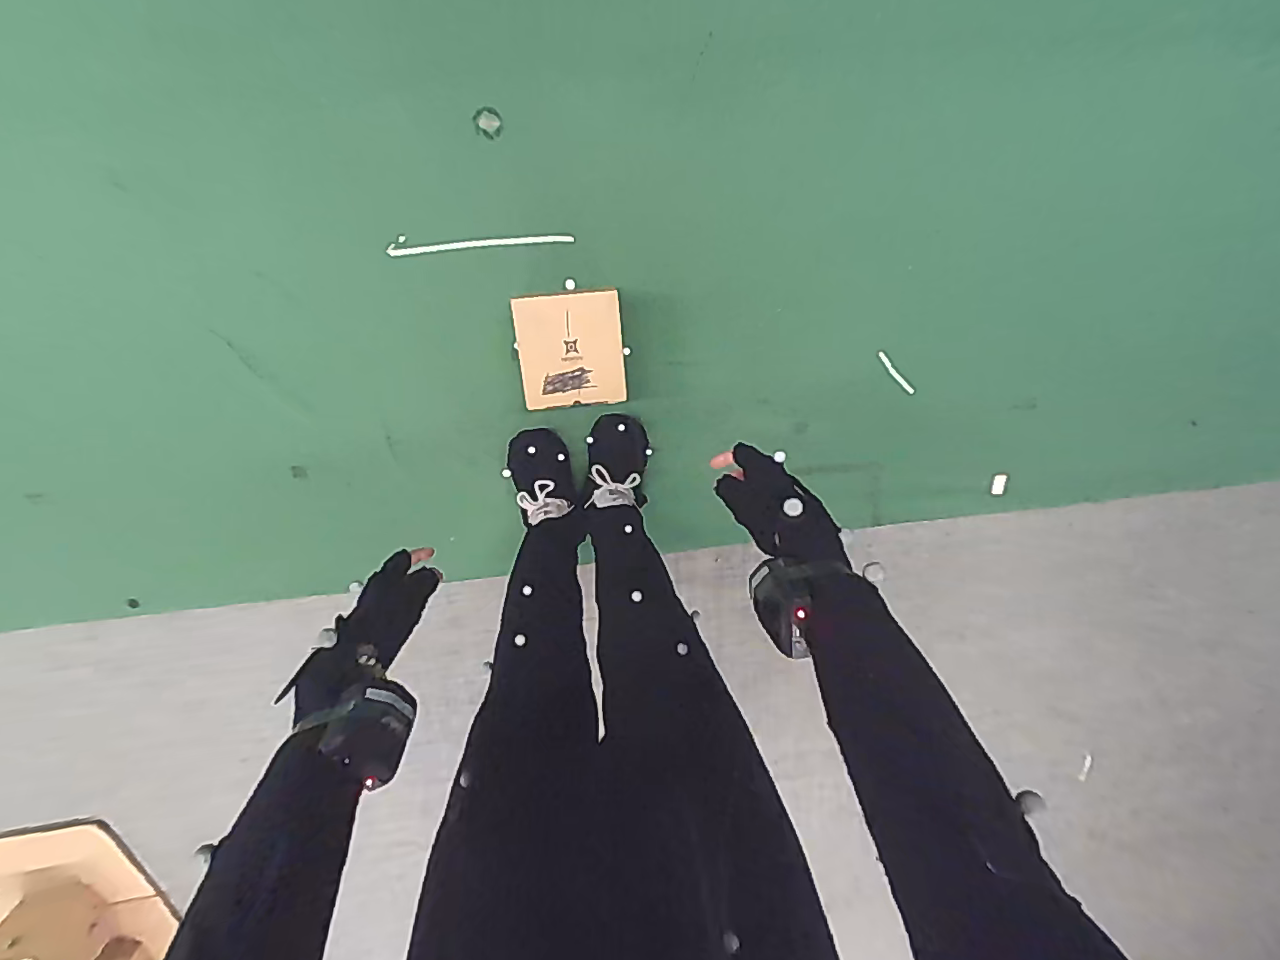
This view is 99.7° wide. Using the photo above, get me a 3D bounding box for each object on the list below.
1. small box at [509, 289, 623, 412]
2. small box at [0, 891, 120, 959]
[{"bbox_3d":[-0.118,-0.226,0.925,0.168,0.176,0.179,-6,111,-3],"label":"small box"},{"bbox_3d":[-1.481,1.176,1.347,0.179,0.176,0.168,-11,112,-2],"label":"small box"}]
